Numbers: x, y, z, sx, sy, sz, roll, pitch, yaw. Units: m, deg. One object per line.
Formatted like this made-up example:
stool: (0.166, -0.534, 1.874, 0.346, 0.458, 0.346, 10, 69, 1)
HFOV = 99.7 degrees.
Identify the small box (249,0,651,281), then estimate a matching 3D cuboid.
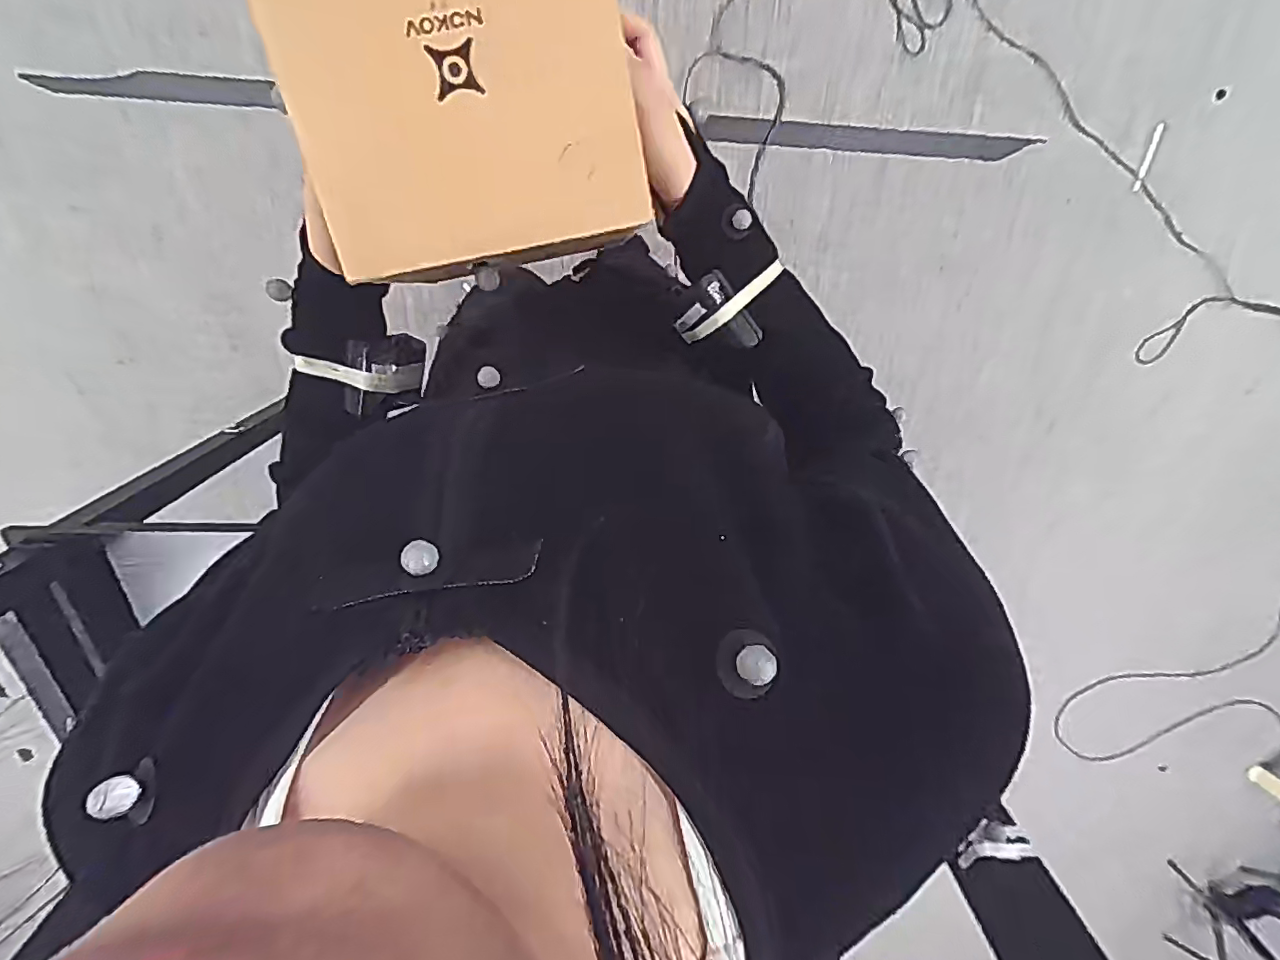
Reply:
small box: (-0.094, -0.226, 0.326, 0.168, 0.176, 0.179, -13, 110, -2)
